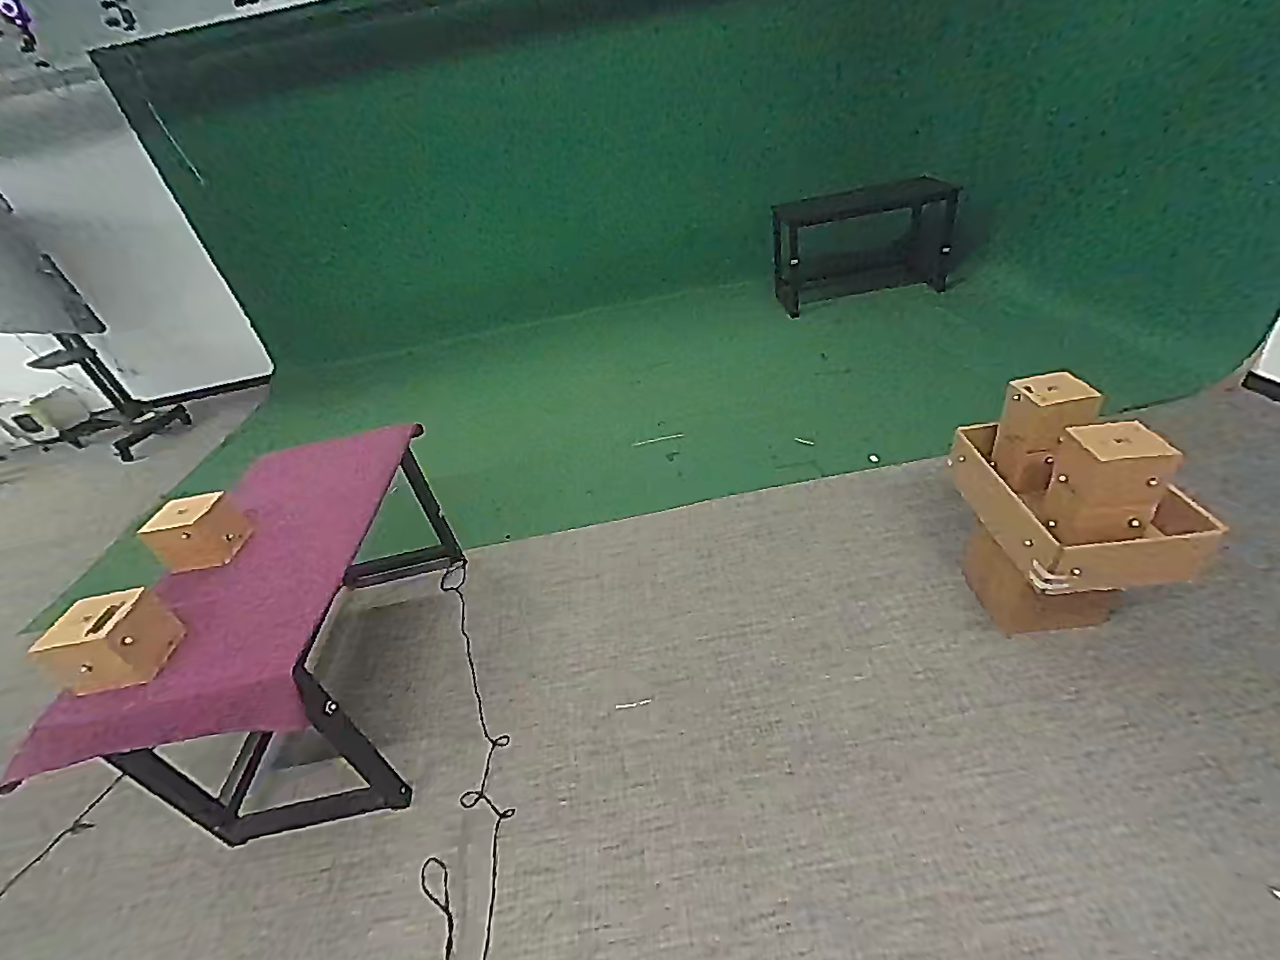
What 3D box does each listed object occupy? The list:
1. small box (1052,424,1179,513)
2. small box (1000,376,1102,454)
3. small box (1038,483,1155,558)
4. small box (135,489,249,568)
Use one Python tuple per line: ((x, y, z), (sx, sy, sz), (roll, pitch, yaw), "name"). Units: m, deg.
((1.248, -0.028, 1.437), (0.179, 0.176, 0.168), (-5, 35, 9), "small box")
((1.258, -0.200, 1.672), (0.179, 0.176, 0.168), (-8, 34, 4), "small box")
((1.276, 0.104, 1.526), (0.179, 0.176, 0.168), (-4, 36, 10), "small box")
((-1.366, 0.152, 1.663), (0.179, 0.176, 0.168), (-9, 35, 0), "small box")
